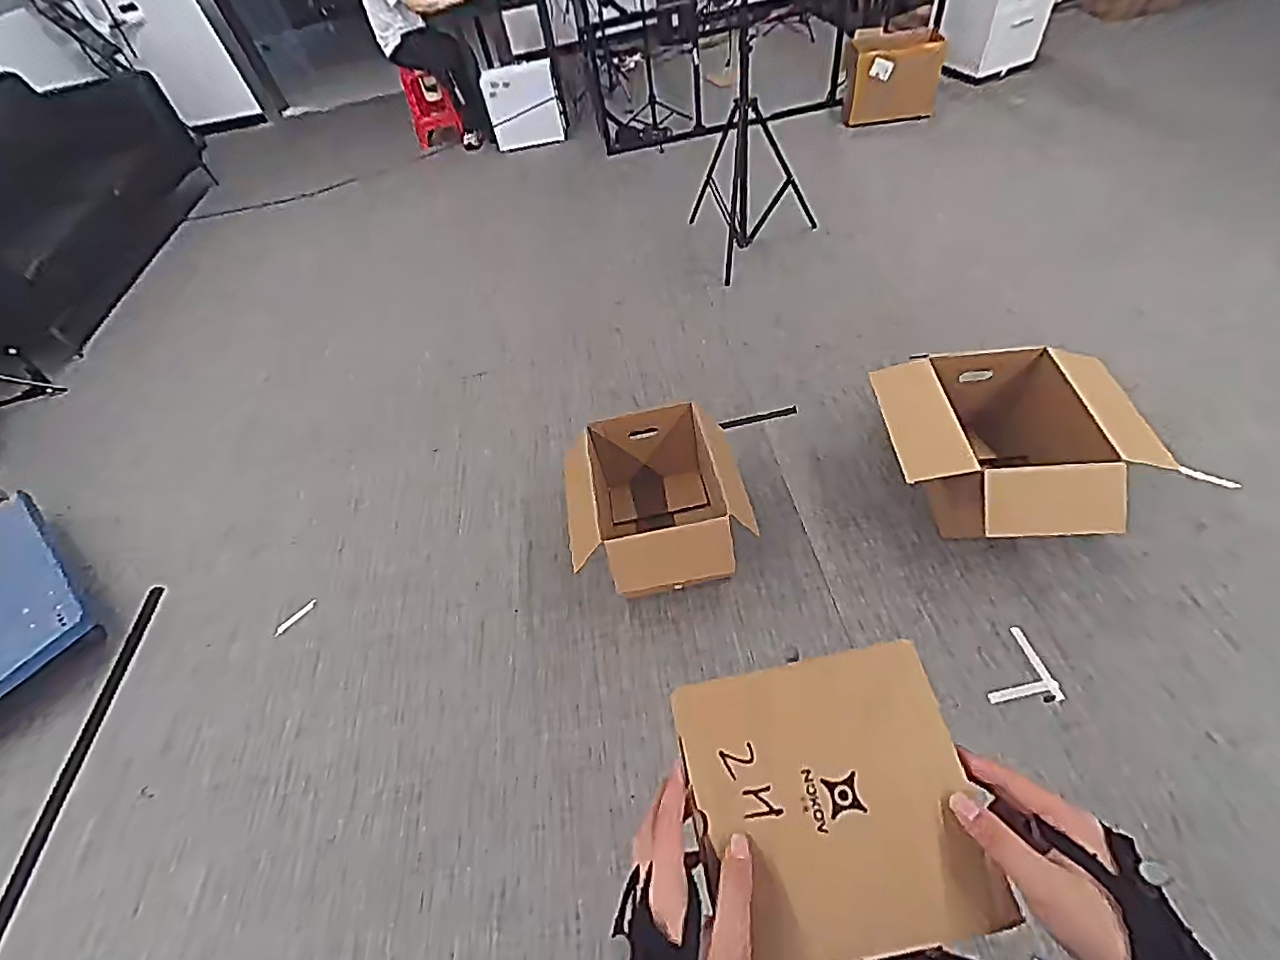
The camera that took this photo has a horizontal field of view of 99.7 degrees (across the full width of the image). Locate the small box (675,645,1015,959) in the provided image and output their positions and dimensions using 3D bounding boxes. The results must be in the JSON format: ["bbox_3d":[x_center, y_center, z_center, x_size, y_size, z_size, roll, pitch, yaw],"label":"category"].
[{"bbox_3d":[0.128,0.235,0.420,0.179,0.176,0.168,-12,65,0],"label":"small box"}]
